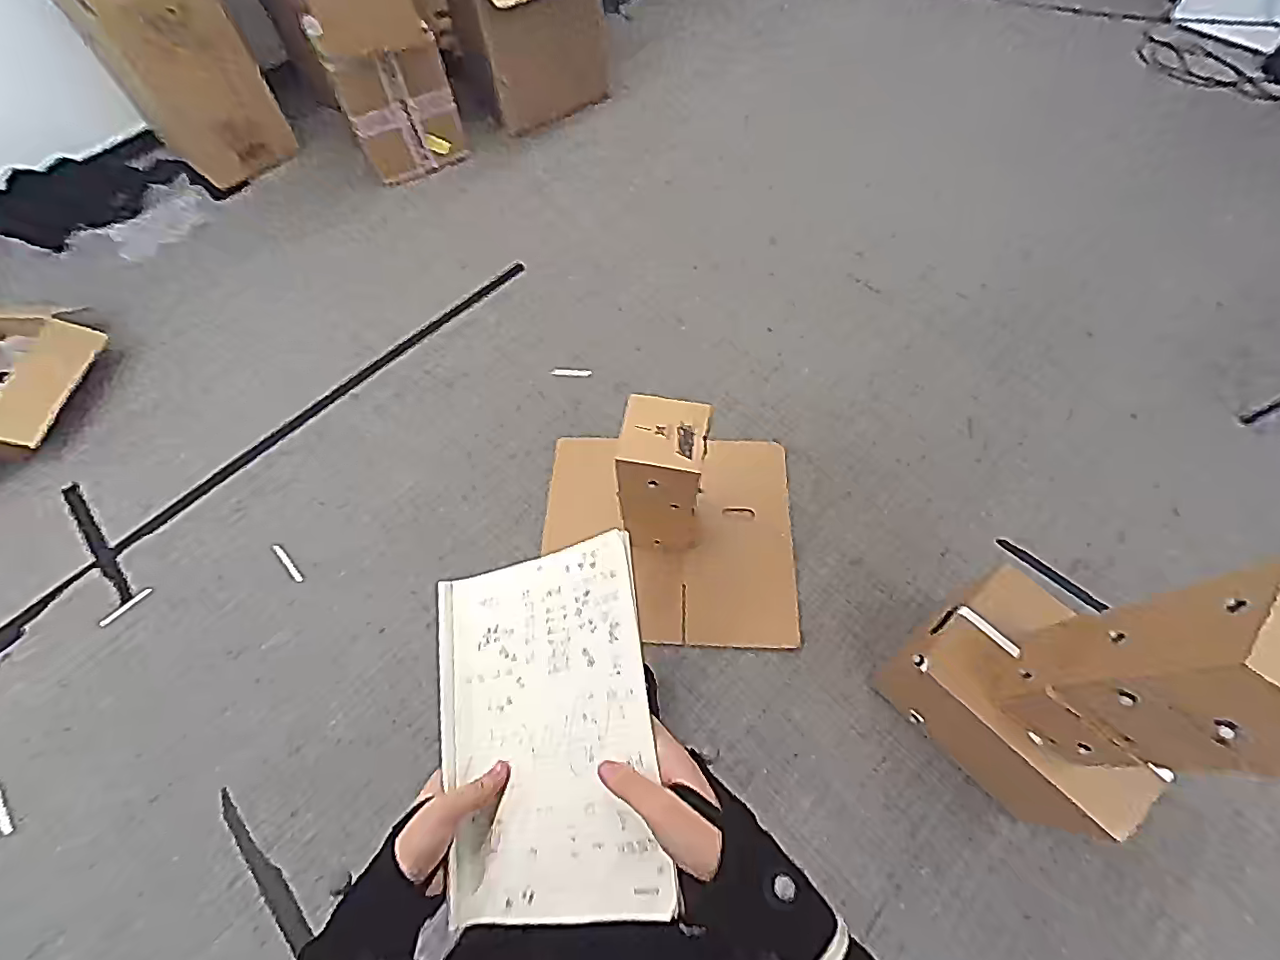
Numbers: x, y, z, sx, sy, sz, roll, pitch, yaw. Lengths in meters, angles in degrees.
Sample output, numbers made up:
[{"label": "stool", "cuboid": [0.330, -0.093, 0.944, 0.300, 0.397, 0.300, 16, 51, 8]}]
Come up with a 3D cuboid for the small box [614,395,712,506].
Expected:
[{"label": "small box", "cuboid": [0.049, -0.057, 1.159, 0.179, 0.176, 0.168, 10, 63, 6]}]

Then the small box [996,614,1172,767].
[{"label": "small box", "cuboid": [0.766, 0.368, 0.940, 0.168, 0.176, 0.179, 38, 70, 18]}]

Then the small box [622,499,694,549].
[{"label": "small box", "cuboid": [0.050, 0.079, 1.457, 0.179, 0.176, 0.168, 6, 63, 3]}]

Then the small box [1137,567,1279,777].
[{"label": "small box", "cuboid": [0.760, 0.226, 0.643, 0.168, 0.176, 0.179, 40, 72, 20]}]

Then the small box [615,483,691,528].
[{"label": "small box", "cuboid": [0.042, 0.005, 1.312, 0.179, 0.176, 0.168, 7, 63, 4]}]
